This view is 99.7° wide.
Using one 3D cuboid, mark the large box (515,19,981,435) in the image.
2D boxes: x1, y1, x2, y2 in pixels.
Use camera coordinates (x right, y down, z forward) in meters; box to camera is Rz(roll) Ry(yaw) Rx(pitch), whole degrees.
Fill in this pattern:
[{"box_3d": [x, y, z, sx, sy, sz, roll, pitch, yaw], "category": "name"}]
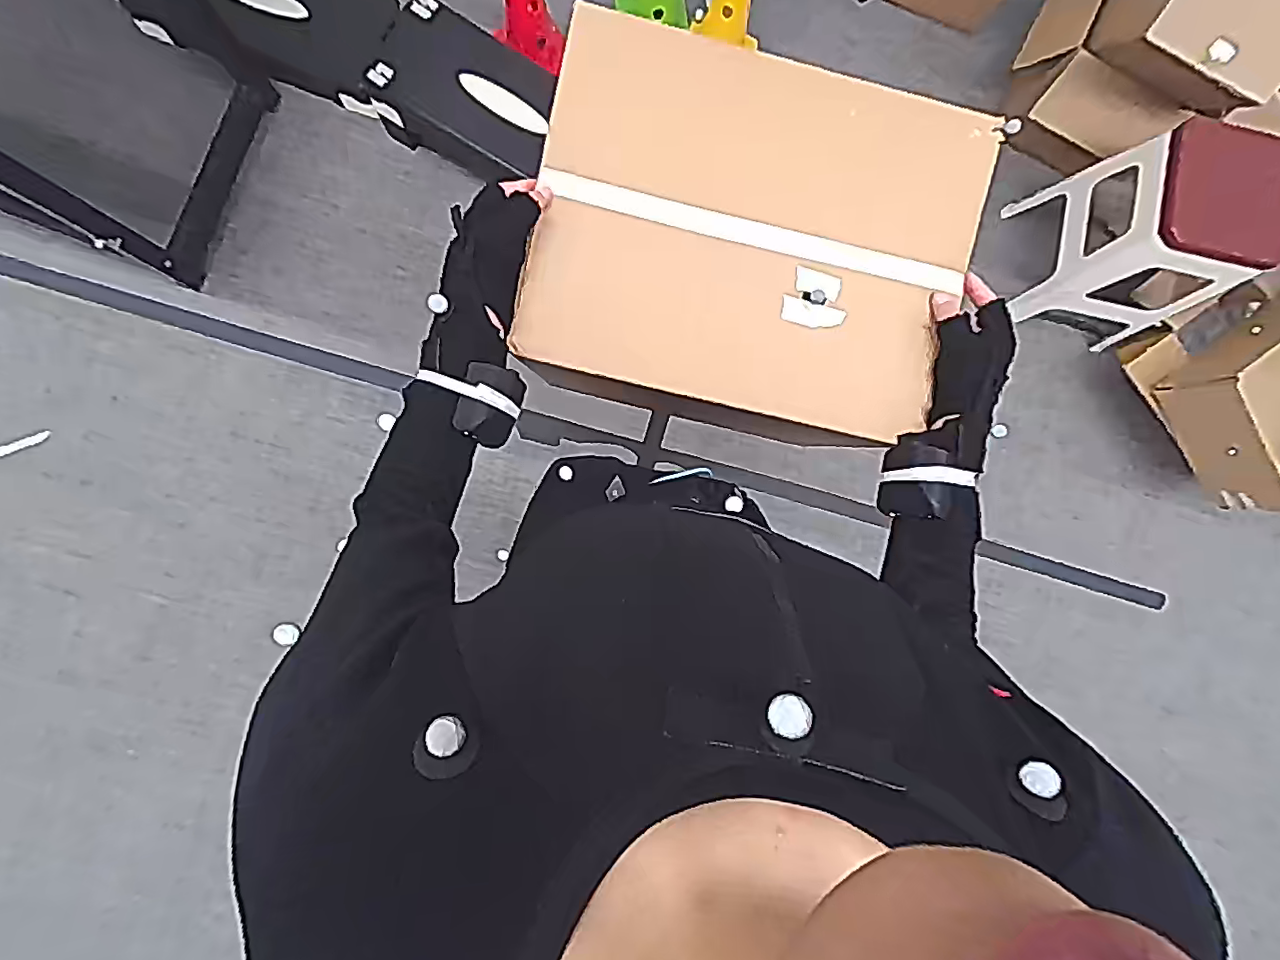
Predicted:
[{"box_3d": [0.094, -0.245, 0.662, 0.408, 0.320, 0.320, 13, 95, -4], "category": "large box"}]
